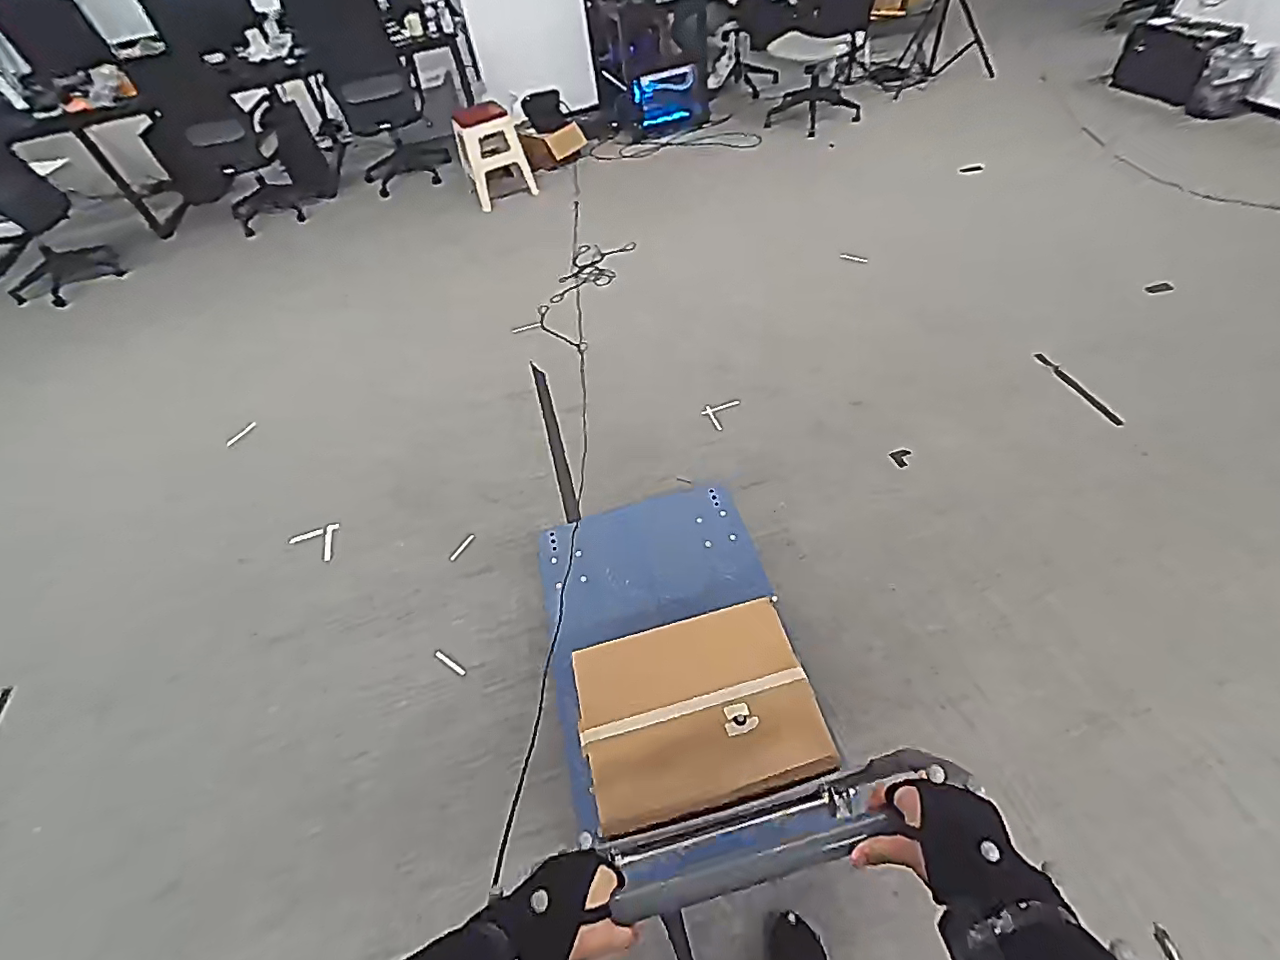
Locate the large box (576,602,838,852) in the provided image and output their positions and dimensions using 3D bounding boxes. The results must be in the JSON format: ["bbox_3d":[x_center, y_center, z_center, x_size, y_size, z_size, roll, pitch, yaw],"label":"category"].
[{"bbox_3d":[0.118,0.501,1.087,0.408,0.320,0.320,-15,53,-4],"label":"large box"}]
